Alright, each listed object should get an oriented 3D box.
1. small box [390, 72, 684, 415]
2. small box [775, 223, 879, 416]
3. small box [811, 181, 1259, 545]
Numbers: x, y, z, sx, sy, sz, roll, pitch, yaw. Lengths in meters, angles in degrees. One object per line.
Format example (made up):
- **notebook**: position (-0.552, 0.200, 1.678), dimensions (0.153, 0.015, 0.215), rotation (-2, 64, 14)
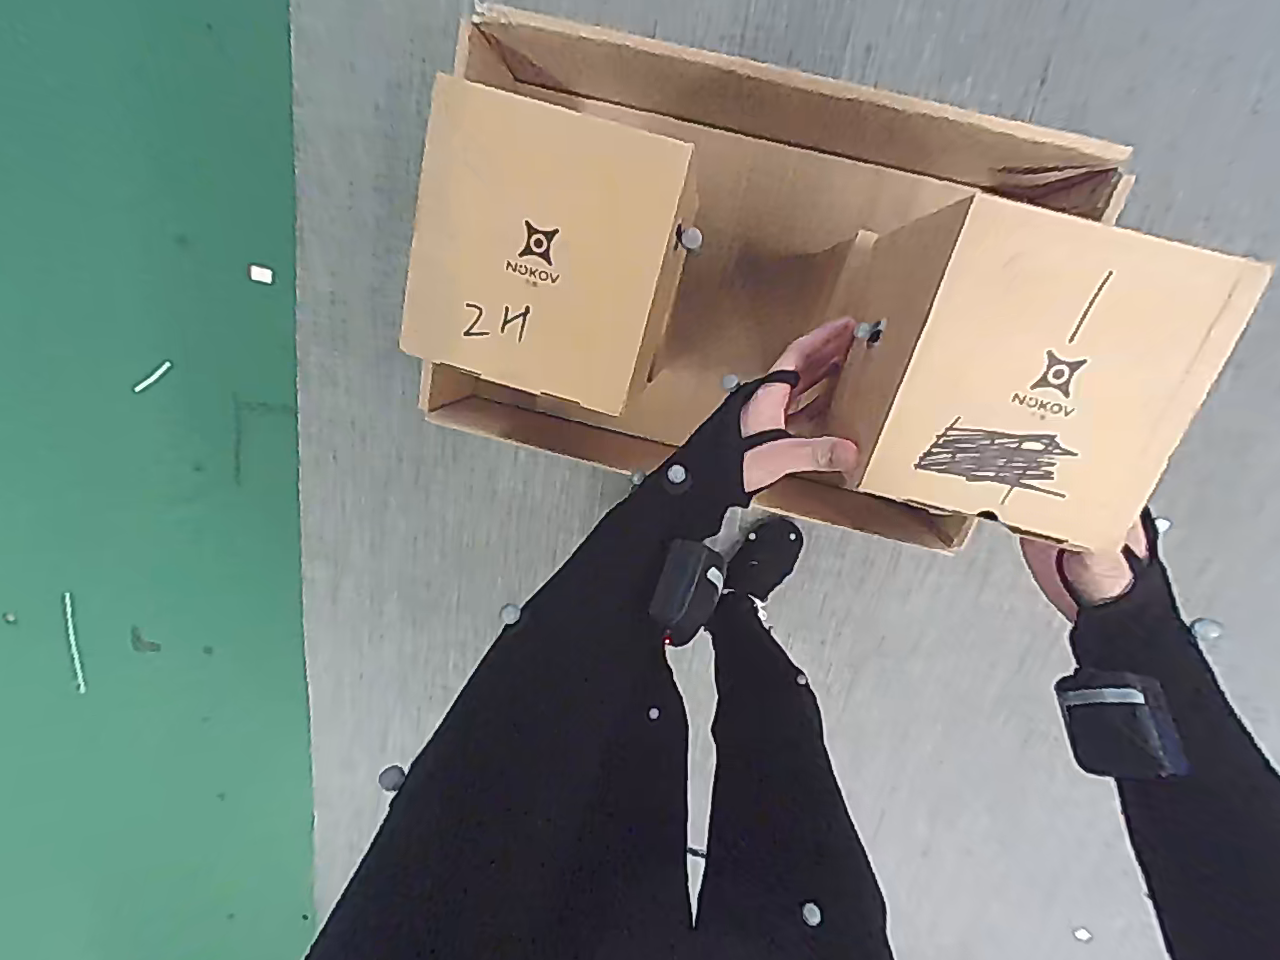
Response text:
- **small box**: position (-0.066, -0.169, 0.427), dimensions (0.168, 0.176, 0.179), rotation (16, 108, 2)
- **small box**: position (0.252, -0.150, 0.572), dimensions (0.168, 0.176, 0.179), rotation (14, 109, 2)
- **small box**: position (0.235, -0.082, 0.386), dimensions (0.168, 0.176, 0.179), rotation (15, 108, 1)
